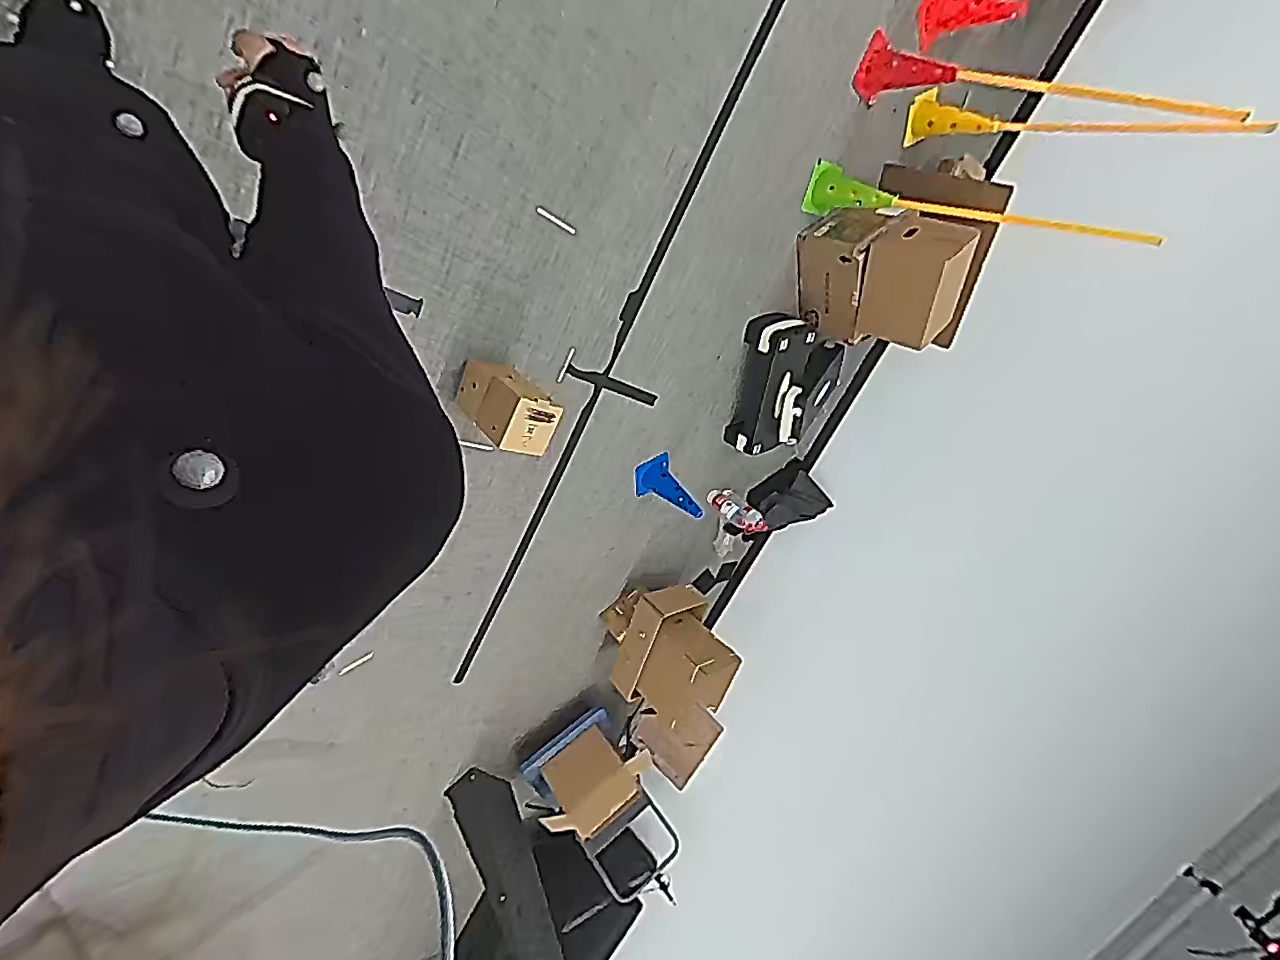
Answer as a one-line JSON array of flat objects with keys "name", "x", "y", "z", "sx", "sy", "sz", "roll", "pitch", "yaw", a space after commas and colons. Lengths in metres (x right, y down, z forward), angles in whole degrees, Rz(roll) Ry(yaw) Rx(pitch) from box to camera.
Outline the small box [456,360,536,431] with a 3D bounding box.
[{"name": "small box", "x": -0.479, "y": -0.279, "z": 1.775, "sx": 0.179, "sy": 0.176, "sz": 0.168, "roll": 4, "pitch": 117, "yaw": -47}]
